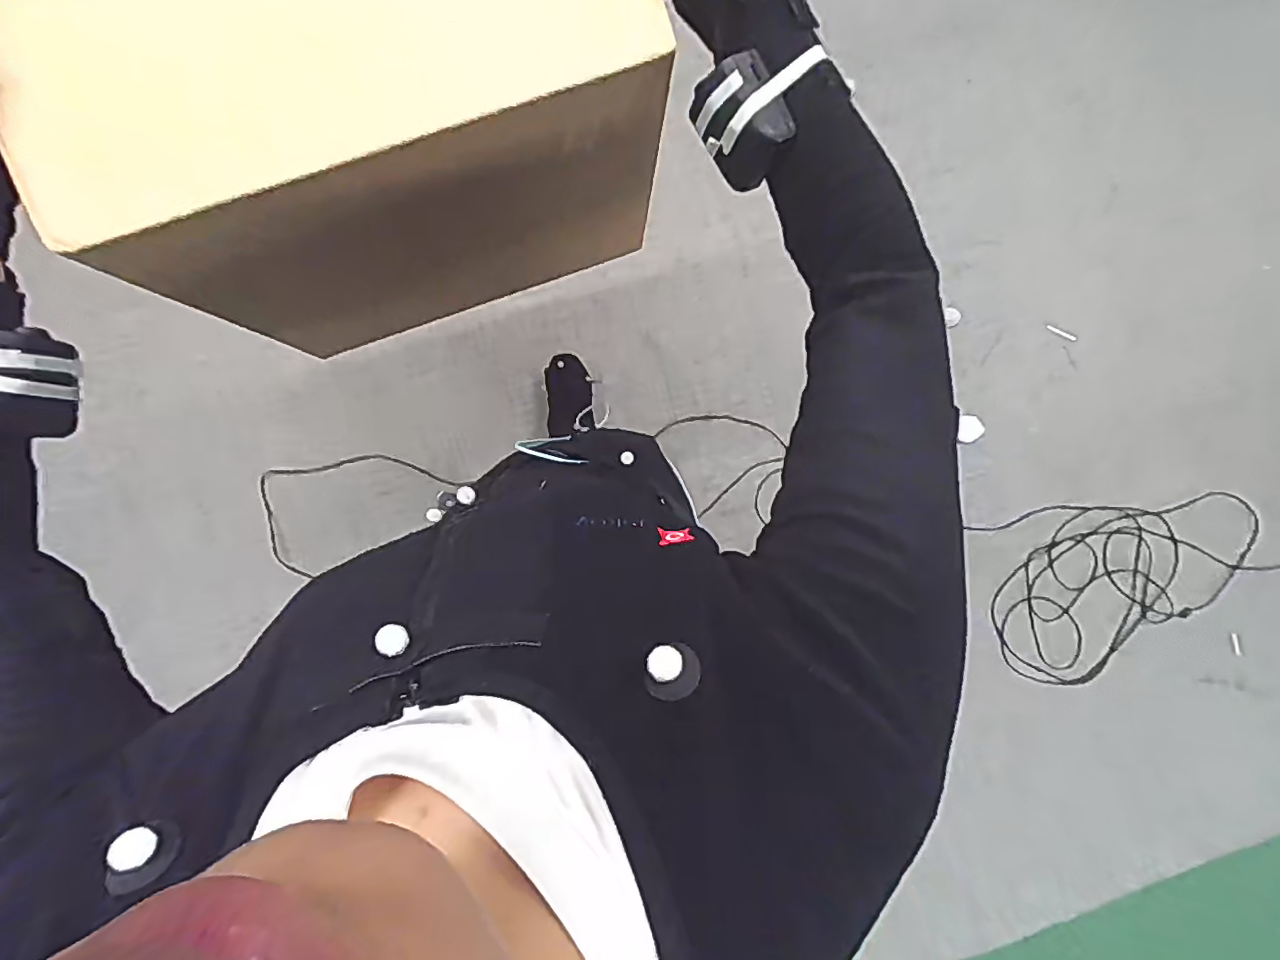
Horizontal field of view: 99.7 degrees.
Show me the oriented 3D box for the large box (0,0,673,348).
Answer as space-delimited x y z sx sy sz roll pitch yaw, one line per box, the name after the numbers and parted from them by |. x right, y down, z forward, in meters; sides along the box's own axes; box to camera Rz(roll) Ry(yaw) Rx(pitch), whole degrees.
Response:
-0.226 -0.362 0.492 0.408 0.320 0.320 -21 92 -5 | large box
